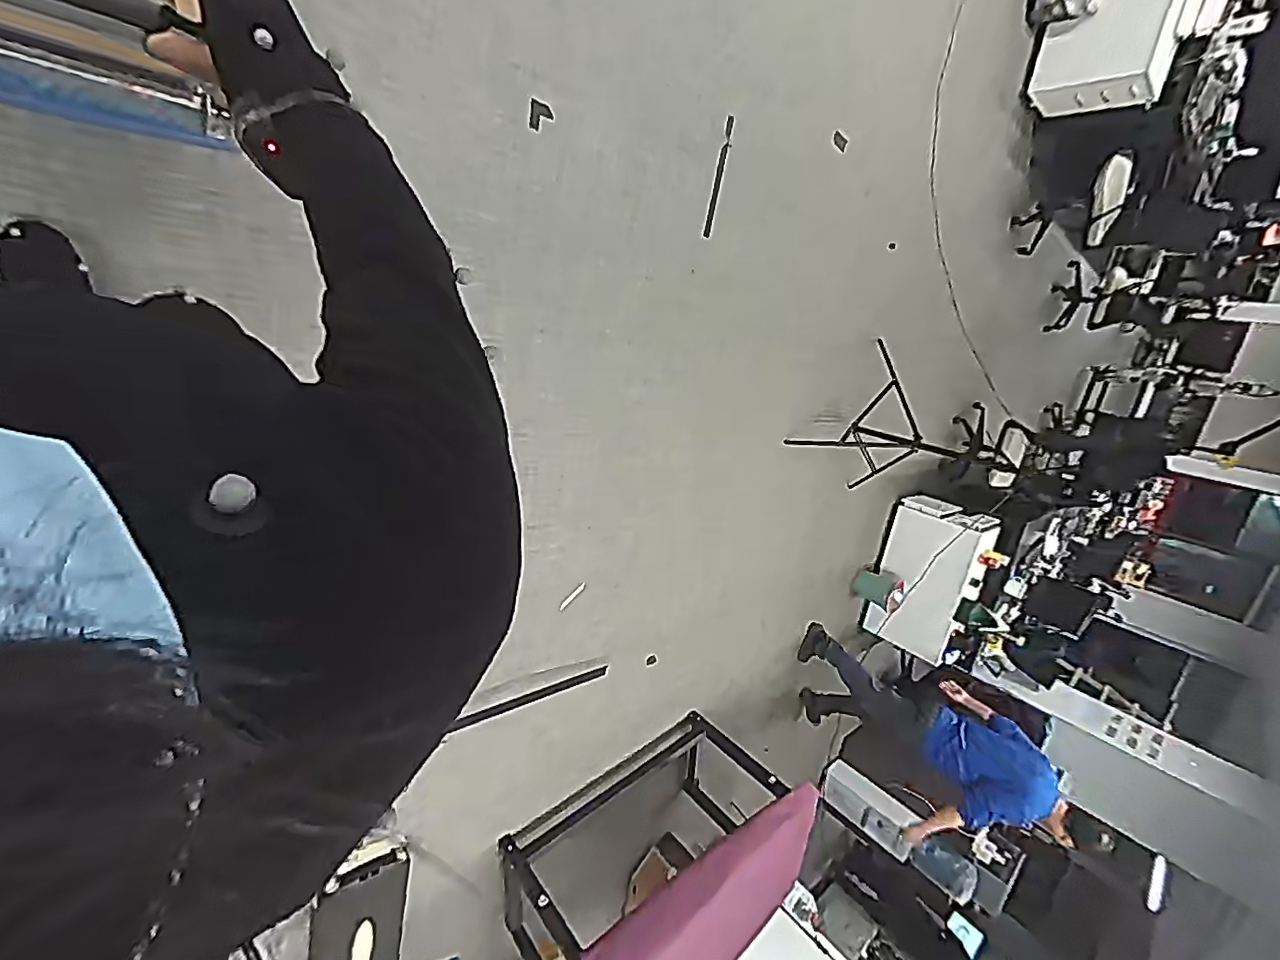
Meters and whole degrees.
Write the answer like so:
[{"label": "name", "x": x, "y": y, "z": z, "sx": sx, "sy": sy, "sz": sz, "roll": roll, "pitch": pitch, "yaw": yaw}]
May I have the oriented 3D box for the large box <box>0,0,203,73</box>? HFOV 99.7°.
[{"label": "large box", "x": -0.782, "y": -0.743, "z": 0.611, "sx": 0.408, "sy": 0.320, "sz": 0.320, "roll": -8, "pitch": 113, "yaw": -42}]
